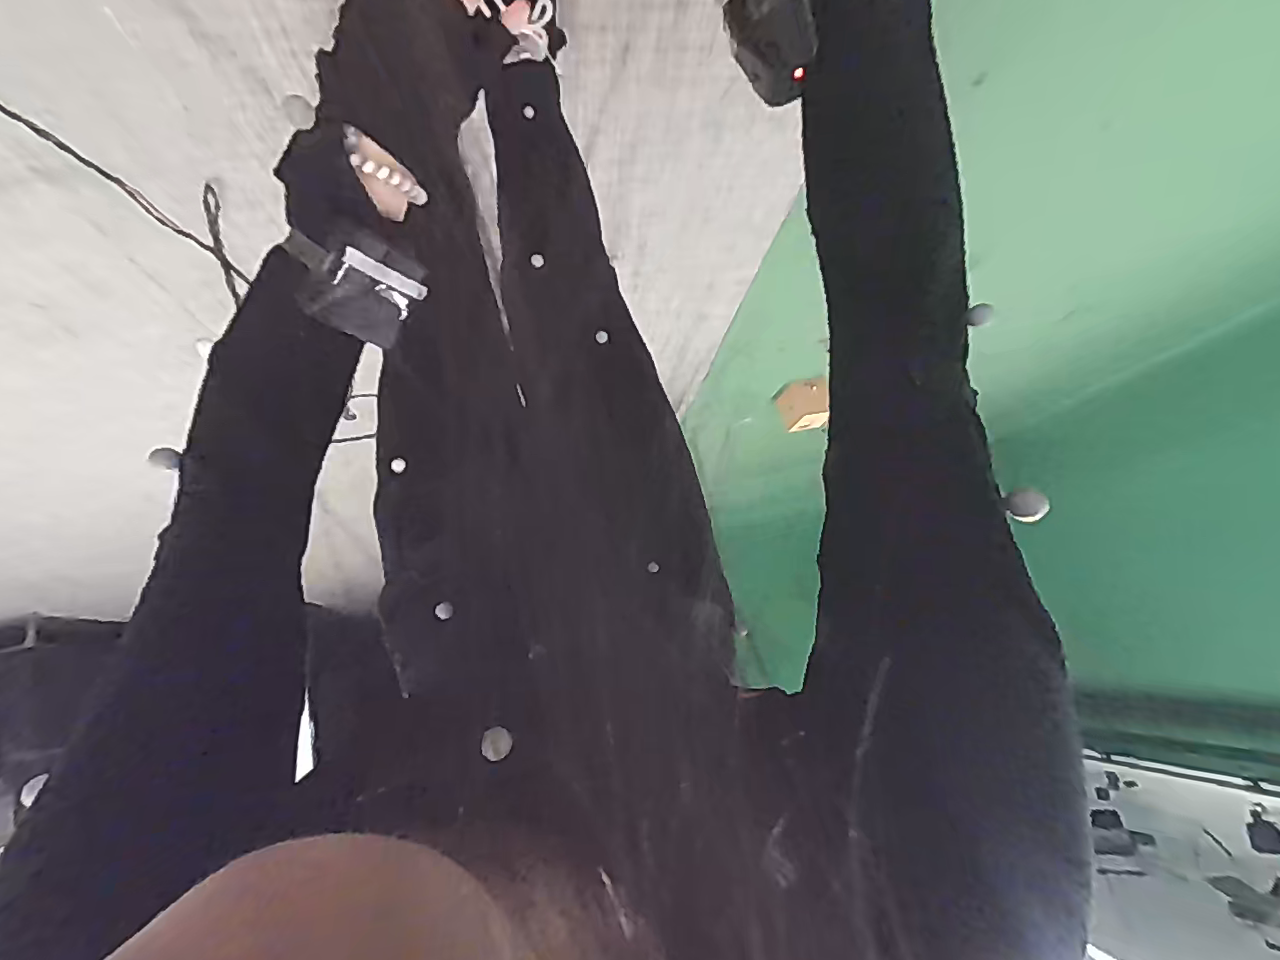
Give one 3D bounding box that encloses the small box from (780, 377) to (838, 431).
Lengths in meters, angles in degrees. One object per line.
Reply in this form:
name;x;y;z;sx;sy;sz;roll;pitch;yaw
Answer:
small box;0.734;-0.336;2.380;0.168;0.176;0.179;-11;164;-13
